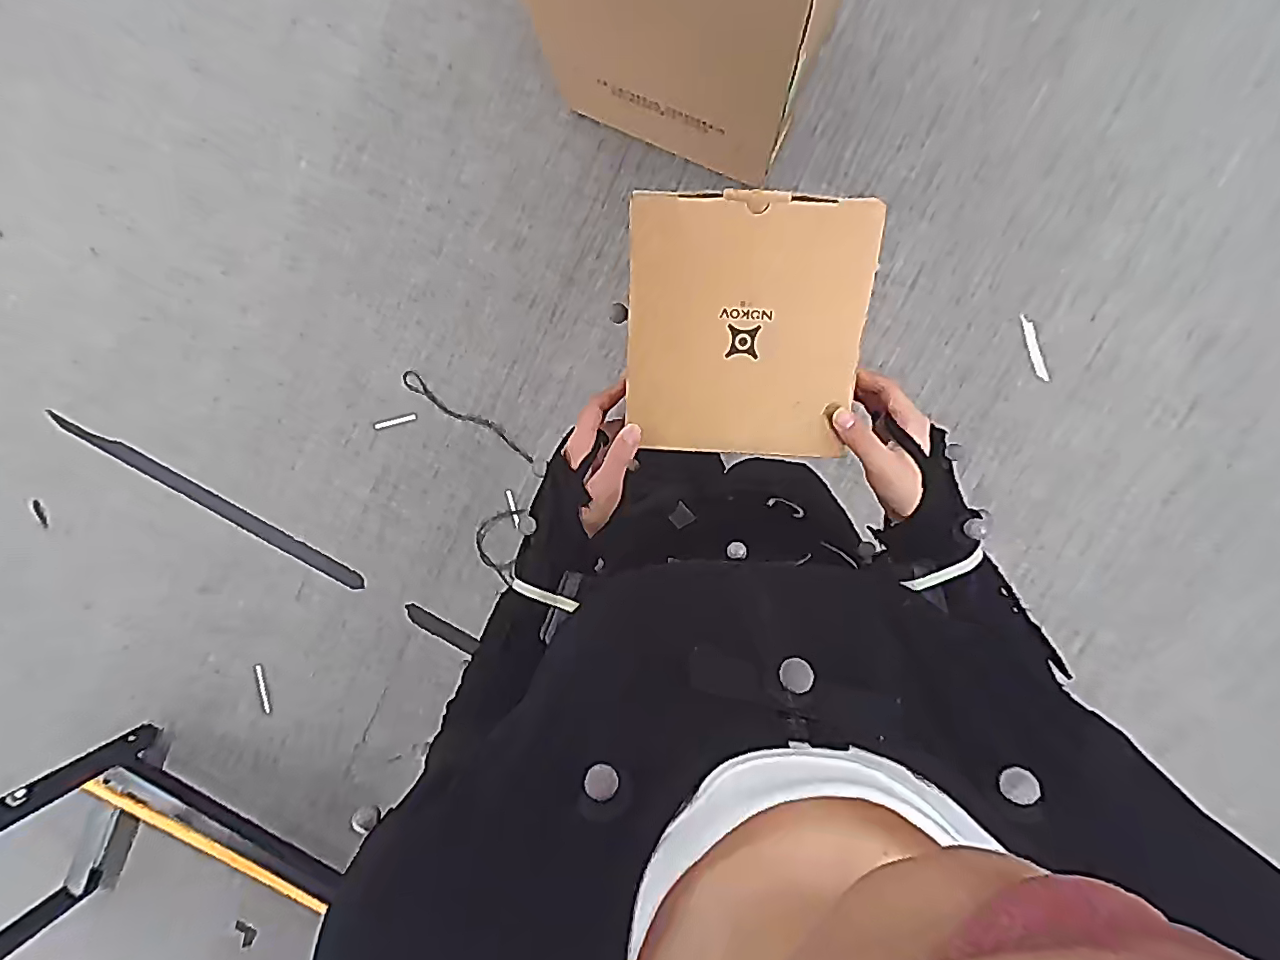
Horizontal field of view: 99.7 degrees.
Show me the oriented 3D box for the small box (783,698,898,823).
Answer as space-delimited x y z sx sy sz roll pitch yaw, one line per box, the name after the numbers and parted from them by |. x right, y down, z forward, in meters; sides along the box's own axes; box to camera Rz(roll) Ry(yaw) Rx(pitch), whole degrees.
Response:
0.462 0.648 1.274 0.179 0.176 0.168 28 94 4 | small box

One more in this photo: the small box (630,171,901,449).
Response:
0.083 -0.136 0.442 0.168 0.176 0.179 3 110 2 | small box
